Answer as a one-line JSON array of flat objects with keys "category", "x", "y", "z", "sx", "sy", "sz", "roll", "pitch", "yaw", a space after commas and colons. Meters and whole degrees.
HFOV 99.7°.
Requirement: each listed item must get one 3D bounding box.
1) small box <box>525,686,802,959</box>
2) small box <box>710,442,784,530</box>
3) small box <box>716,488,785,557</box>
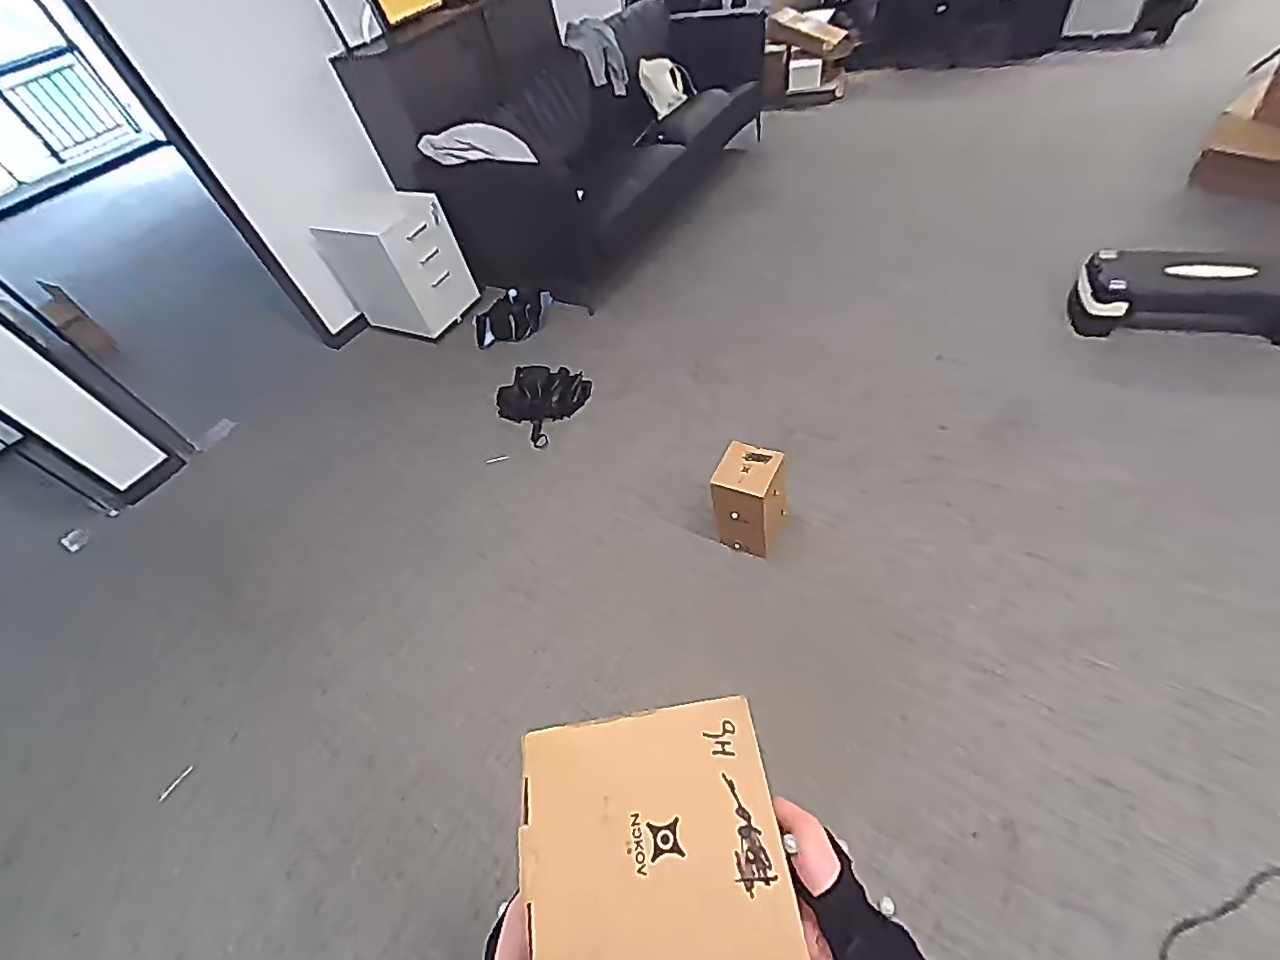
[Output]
[{"category": "small box", "x": 0.012, "y": 0.284, "z": 0.445, "sx": 0.179, "sy": 0.176, "sz": 0.168, "roll": -9, "pitch": 58, "yaw": -2}, {"category": "small box", "x": 0.323, "y": 0.018, "z": 1.624, "sx": 0.168, "sy": 0.176, "sz": 0.179, "roll": 16, "pitch": 57, "yaw": 27}, {"category": "small box", "x": 0.361, "y": 0.118, "z": 1.750, "sx": 0.168, "sy": 0.176, "sz": 0.179, "roll": 17, "pitch": 58, "yaw": 27}]
